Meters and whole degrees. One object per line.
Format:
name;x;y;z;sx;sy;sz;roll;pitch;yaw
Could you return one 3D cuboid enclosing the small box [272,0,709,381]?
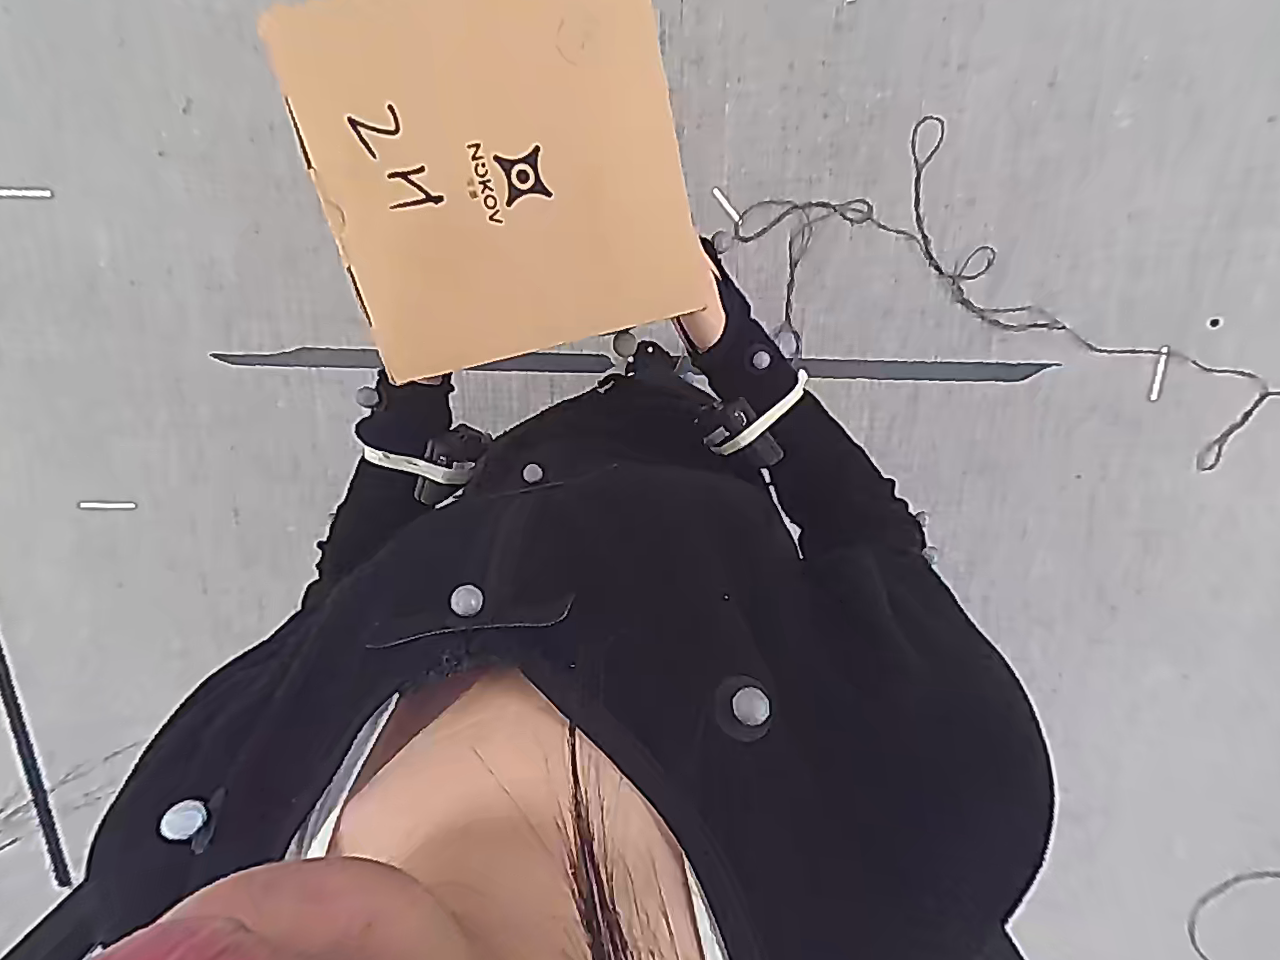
small box;-0.072;-0.169;0.340;0.179;0.176;0.168;-14;108;-3
